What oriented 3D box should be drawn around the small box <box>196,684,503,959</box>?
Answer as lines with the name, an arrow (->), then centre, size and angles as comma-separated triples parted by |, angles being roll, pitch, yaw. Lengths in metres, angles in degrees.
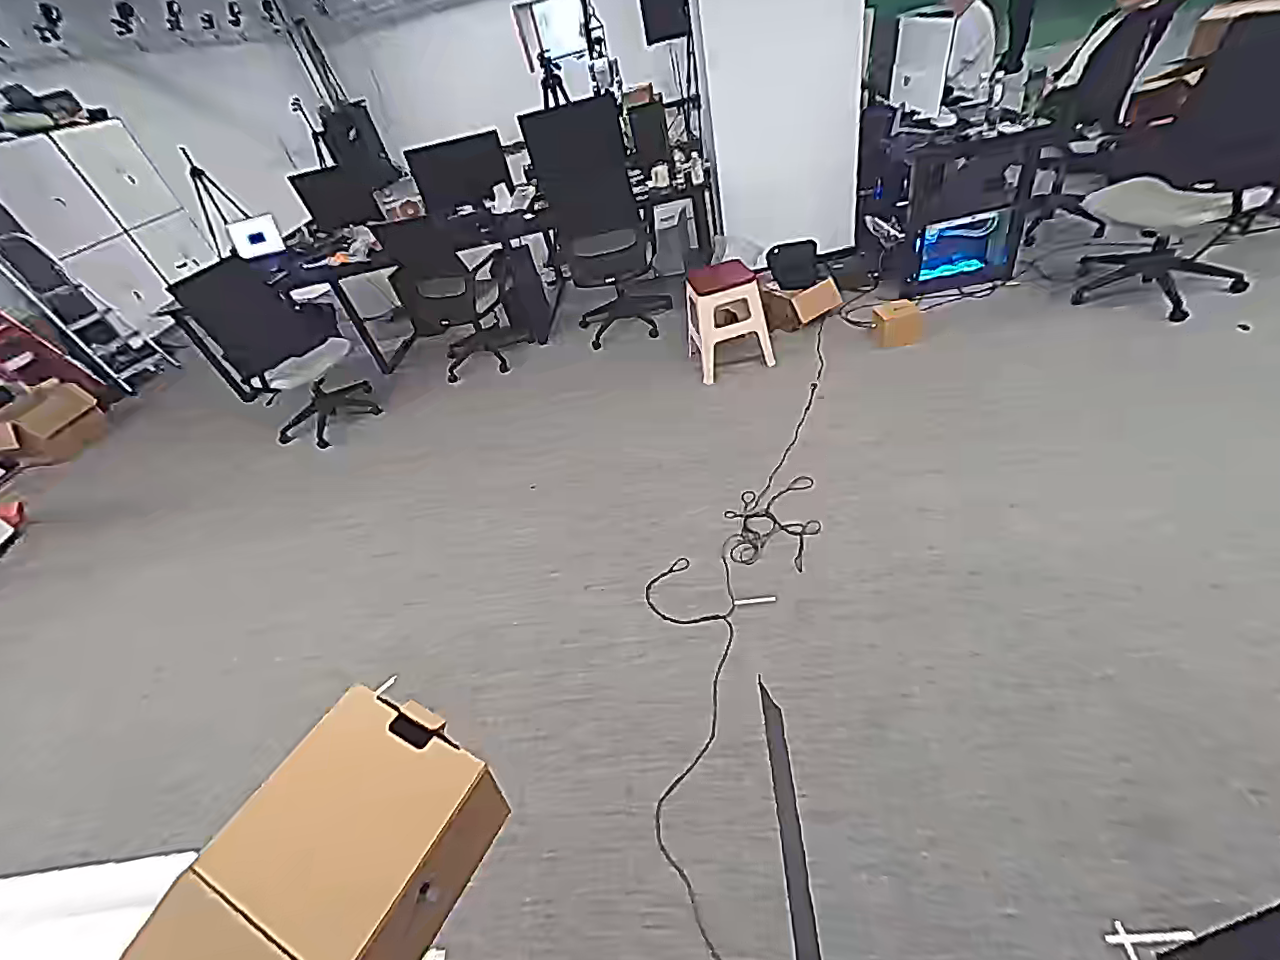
small box -> -0.252, 0.342, 0.522 | 0.168, 0.176, 0.179 | 22, 48, 17
